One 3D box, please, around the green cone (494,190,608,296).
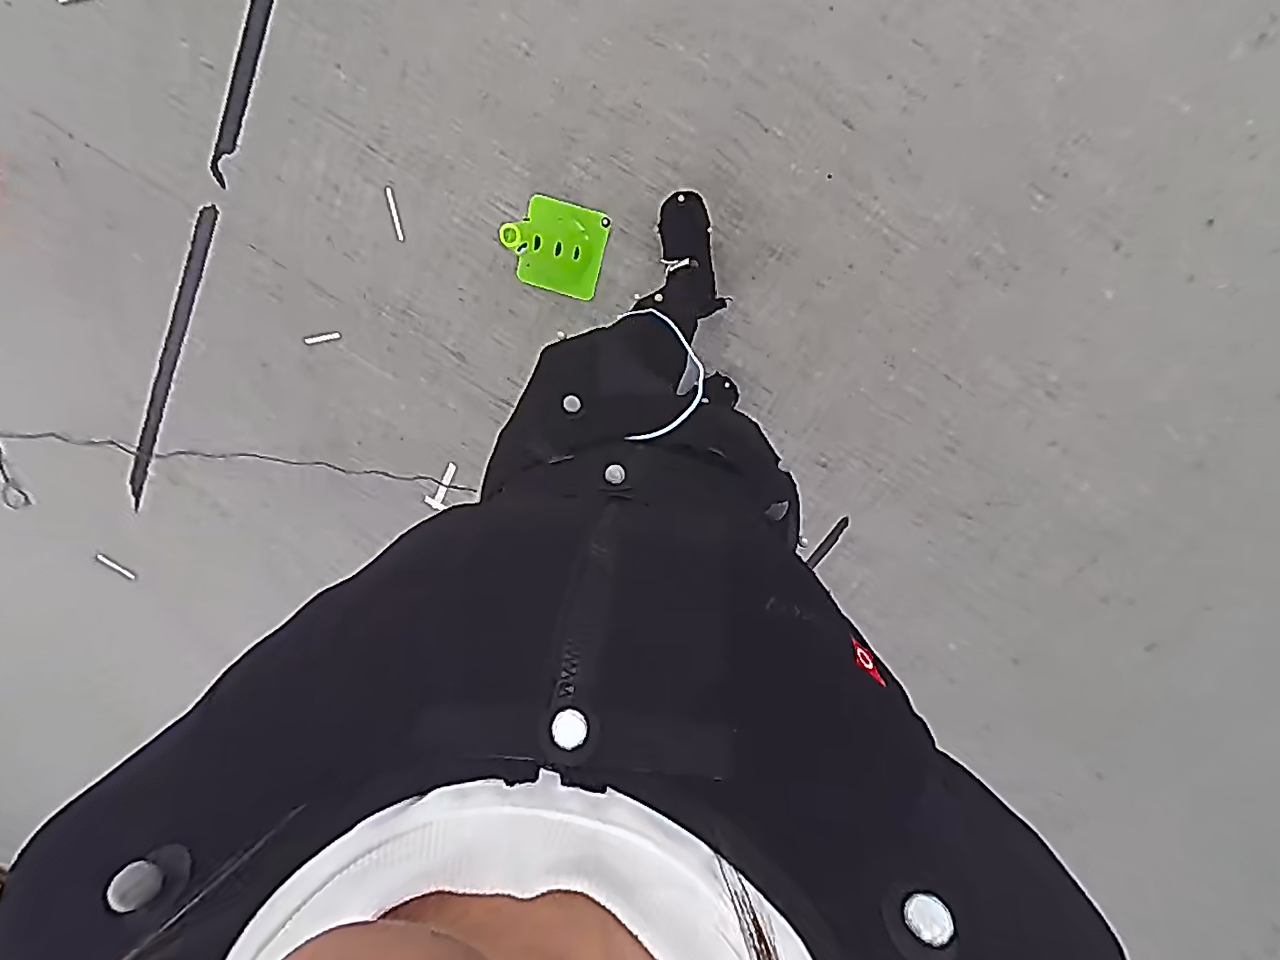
[{"bbox_3d":[-0.216,-0.502,1.128,0.200,0.368,0.202,18,112,3],"label":"green cone"}]
